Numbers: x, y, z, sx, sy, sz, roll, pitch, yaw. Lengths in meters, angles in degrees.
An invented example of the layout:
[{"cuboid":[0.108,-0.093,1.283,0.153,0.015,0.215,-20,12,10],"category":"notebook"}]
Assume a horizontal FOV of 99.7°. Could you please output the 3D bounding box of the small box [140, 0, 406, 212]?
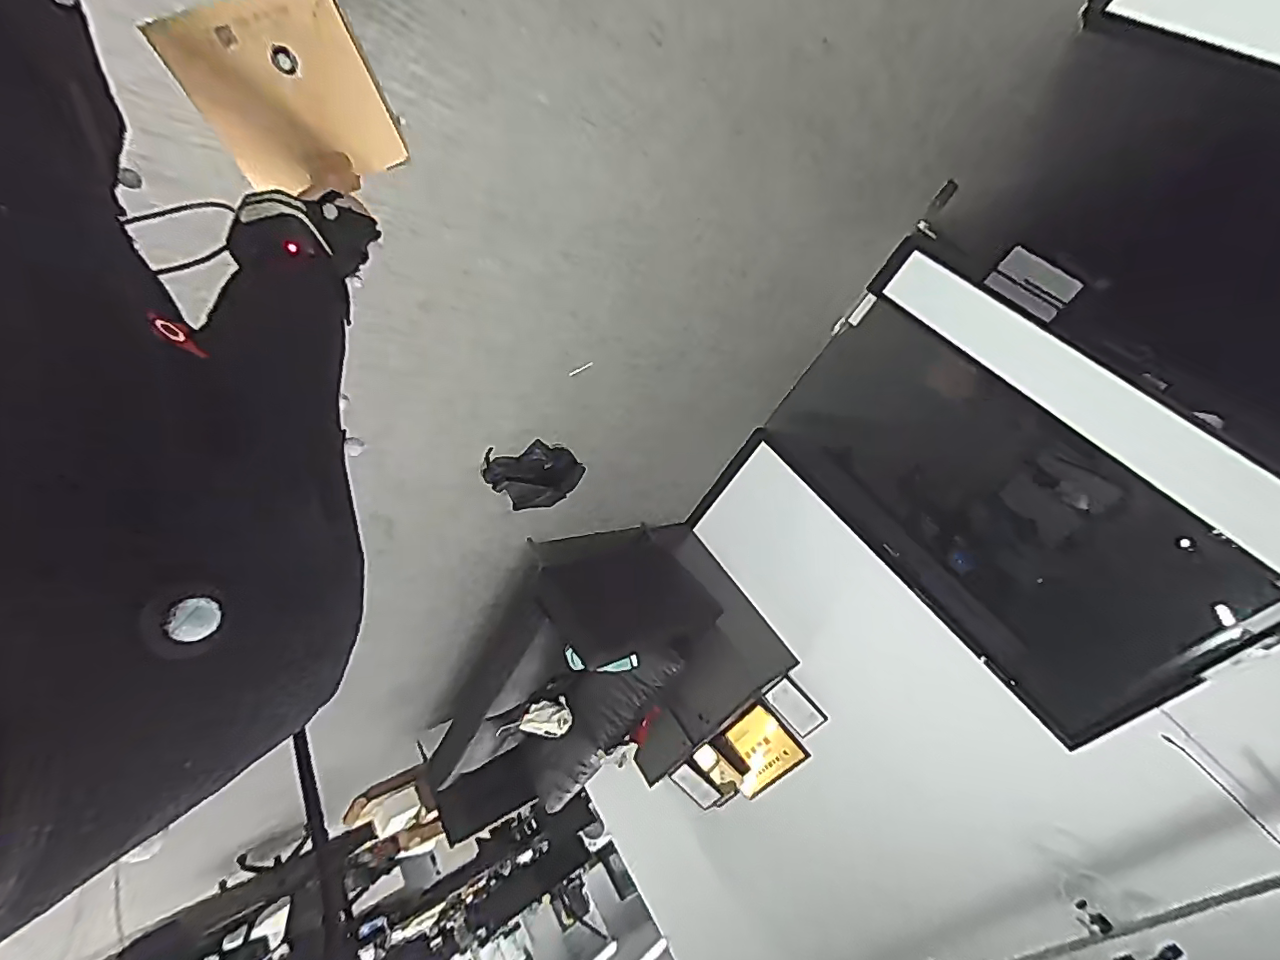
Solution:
[{"cuboid":[-0.386,-0.433,0.597,0.168,0.179,0.176,-25,137,-6],"category":"small box"}]
